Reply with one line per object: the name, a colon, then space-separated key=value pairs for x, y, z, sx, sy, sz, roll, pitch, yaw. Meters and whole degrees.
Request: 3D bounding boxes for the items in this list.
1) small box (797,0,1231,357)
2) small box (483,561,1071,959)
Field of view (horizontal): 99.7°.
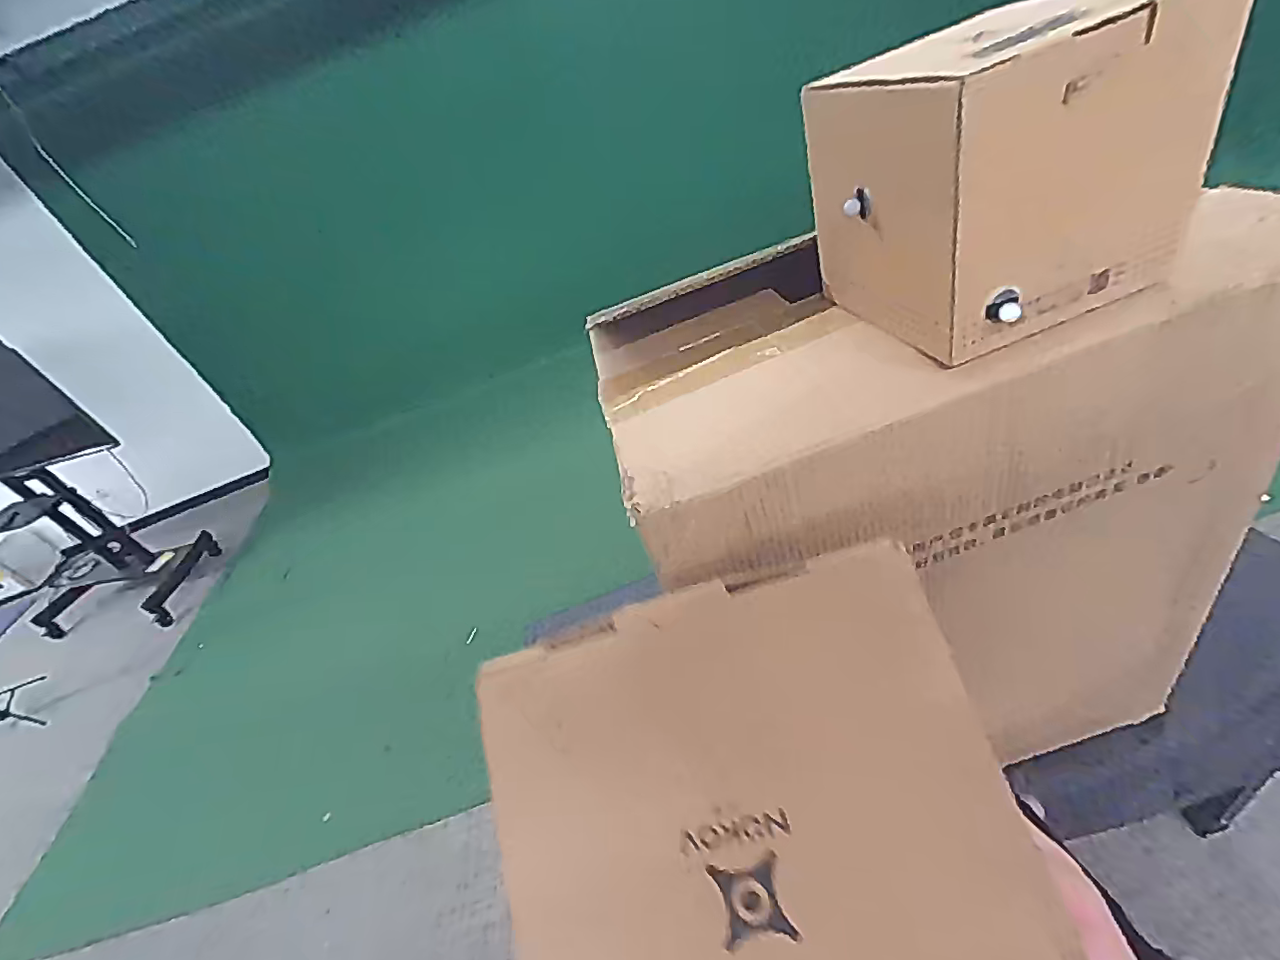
small box: x=0.236 y=-0.208 z=0.384 sx=0.168 sy=0.176 sz=0.179 roll=-22 pitch=35 yaw=0
small box: x=0.058 y=0.152 z=0.243 sx=0.168 sy=0.176 sz=0.179 roll=-21 pitch=70 yaw=12
